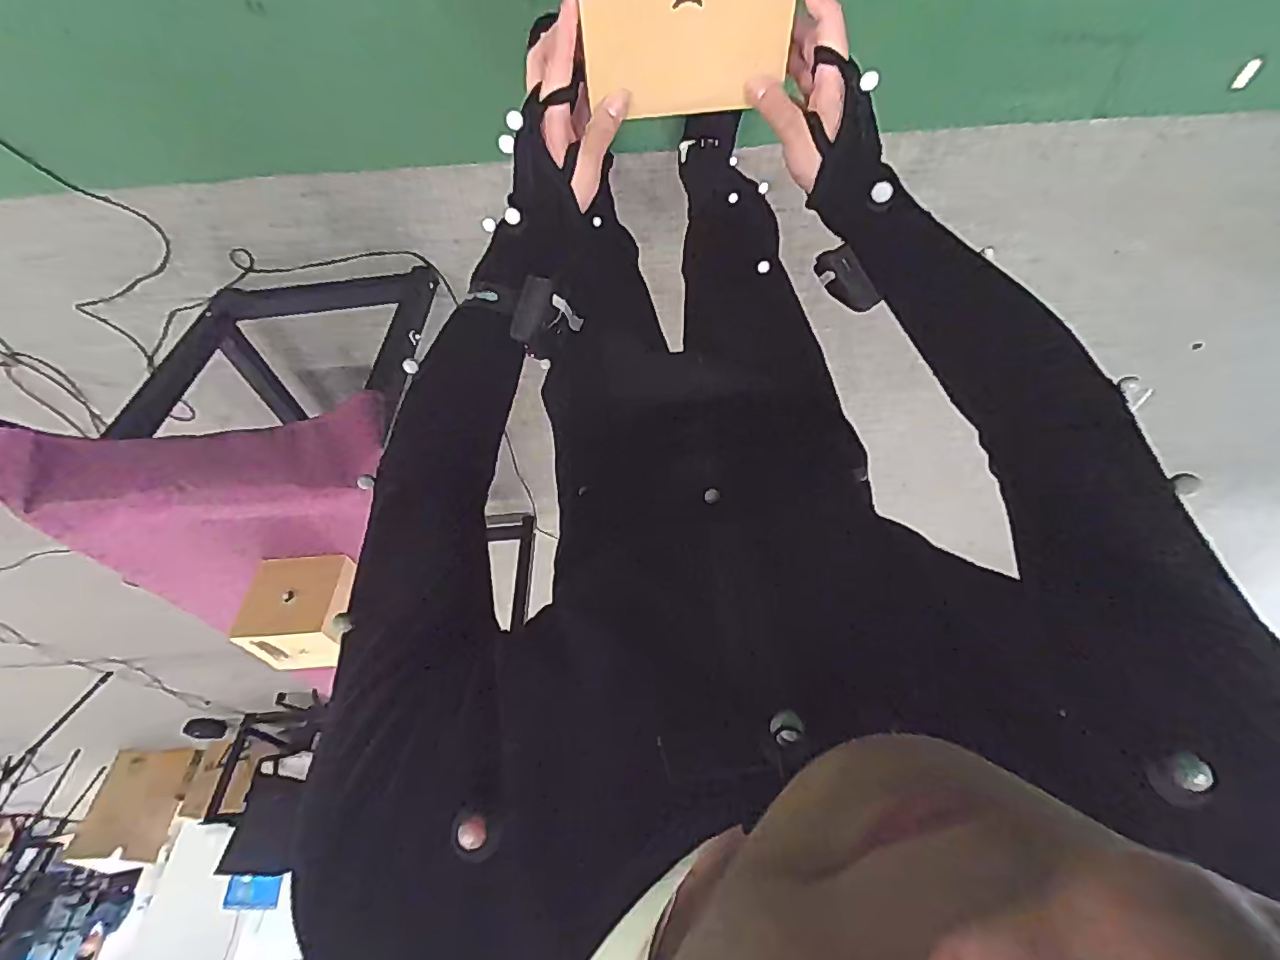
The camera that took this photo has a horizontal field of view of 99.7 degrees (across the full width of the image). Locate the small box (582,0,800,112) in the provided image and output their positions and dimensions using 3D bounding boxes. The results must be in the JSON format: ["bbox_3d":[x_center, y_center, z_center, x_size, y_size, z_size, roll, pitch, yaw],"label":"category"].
[{"bbox_3d":[0.033,-0.433,0.435,0.168,0.176,0.179,-6,144,-2],"label":"small box"}]
